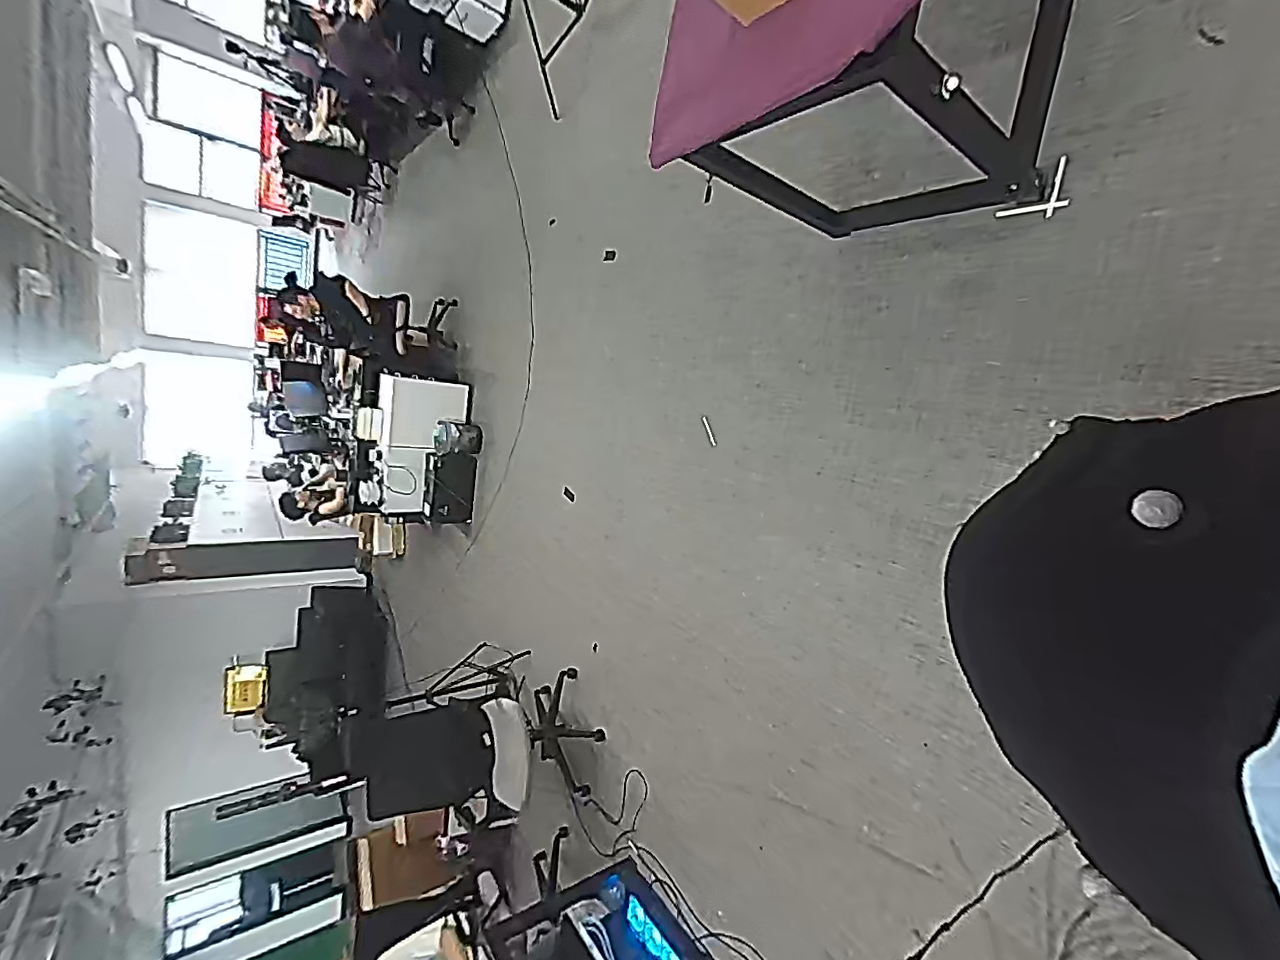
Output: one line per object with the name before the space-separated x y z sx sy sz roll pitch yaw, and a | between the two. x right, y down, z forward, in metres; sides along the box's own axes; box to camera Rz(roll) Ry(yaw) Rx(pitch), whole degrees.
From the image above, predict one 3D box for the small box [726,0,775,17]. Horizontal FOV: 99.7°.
small box | 0.214 -0.993 0.969 0.179 0.176 0.168 16 101 51
